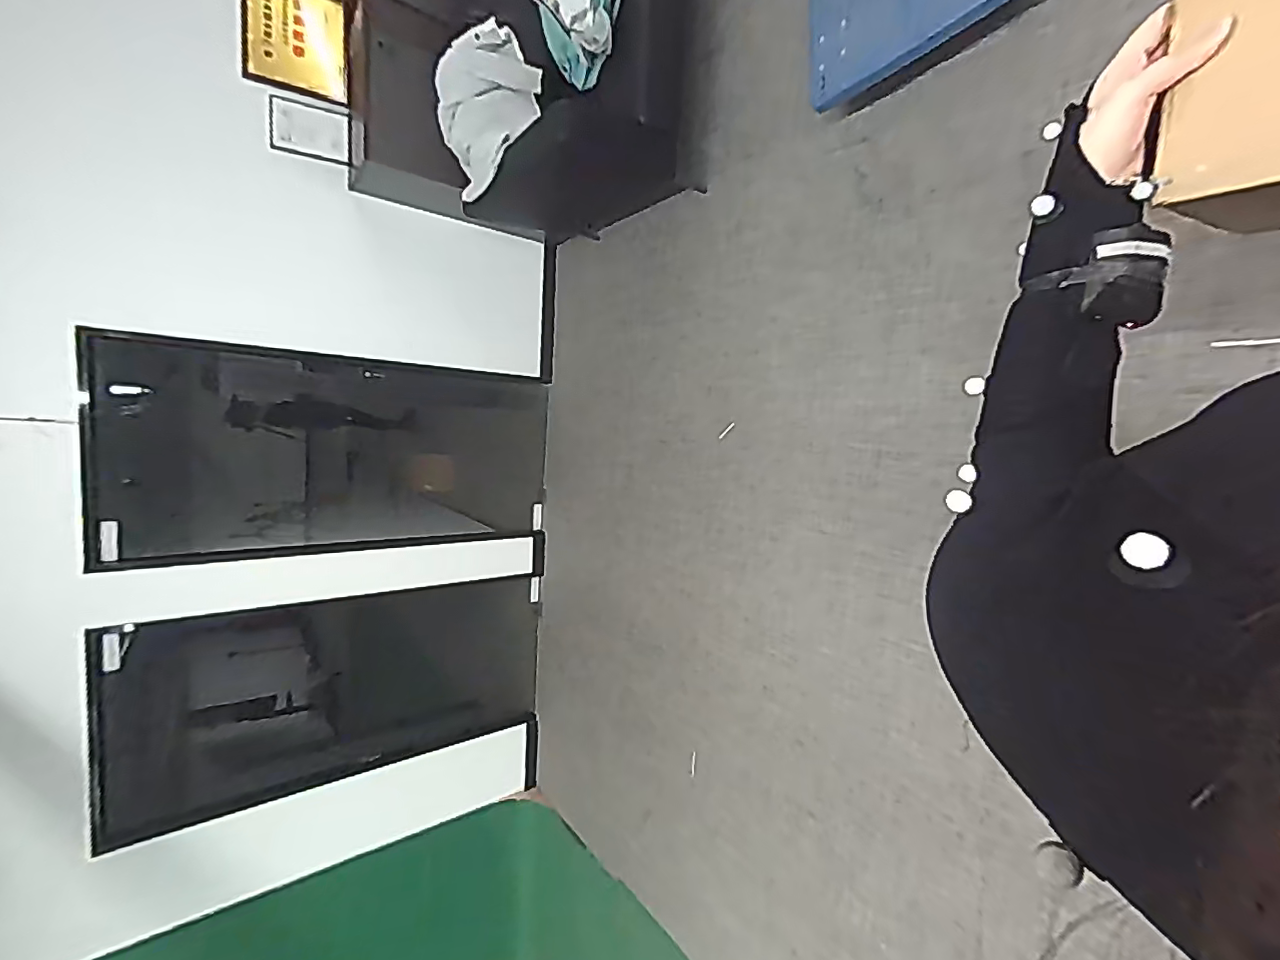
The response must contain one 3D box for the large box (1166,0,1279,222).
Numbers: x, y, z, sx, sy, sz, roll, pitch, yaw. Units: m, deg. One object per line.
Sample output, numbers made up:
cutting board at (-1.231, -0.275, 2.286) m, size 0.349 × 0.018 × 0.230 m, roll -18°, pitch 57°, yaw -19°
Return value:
large box at (0.626, -0.366, 0.302) m, size 0.408 × 0.320 × 0.320 m, roll 13°, pitch 110°, yaw 56°
